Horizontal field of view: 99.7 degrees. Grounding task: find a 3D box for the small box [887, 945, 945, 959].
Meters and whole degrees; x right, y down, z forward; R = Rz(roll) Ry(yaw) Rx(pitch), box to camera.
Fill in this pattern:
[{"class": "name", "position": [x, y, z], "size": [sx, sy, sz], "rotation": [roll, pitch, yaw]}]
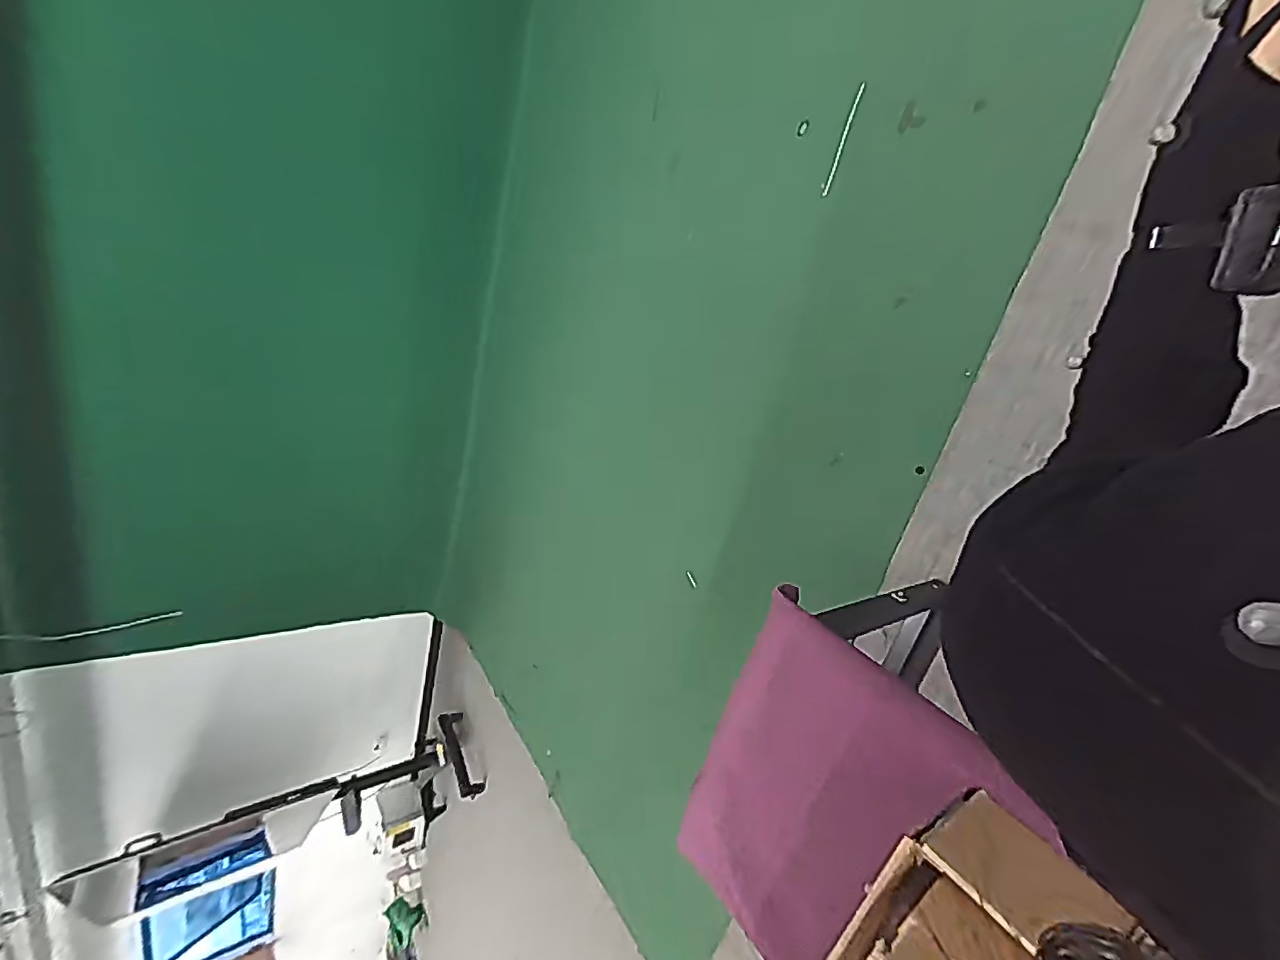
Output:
[{"class": "small box", "position": [0.270, 0.601, 0.513], "size": [0.179, 0.176, 0.168], "rotation": [37, 119, 41]}]
